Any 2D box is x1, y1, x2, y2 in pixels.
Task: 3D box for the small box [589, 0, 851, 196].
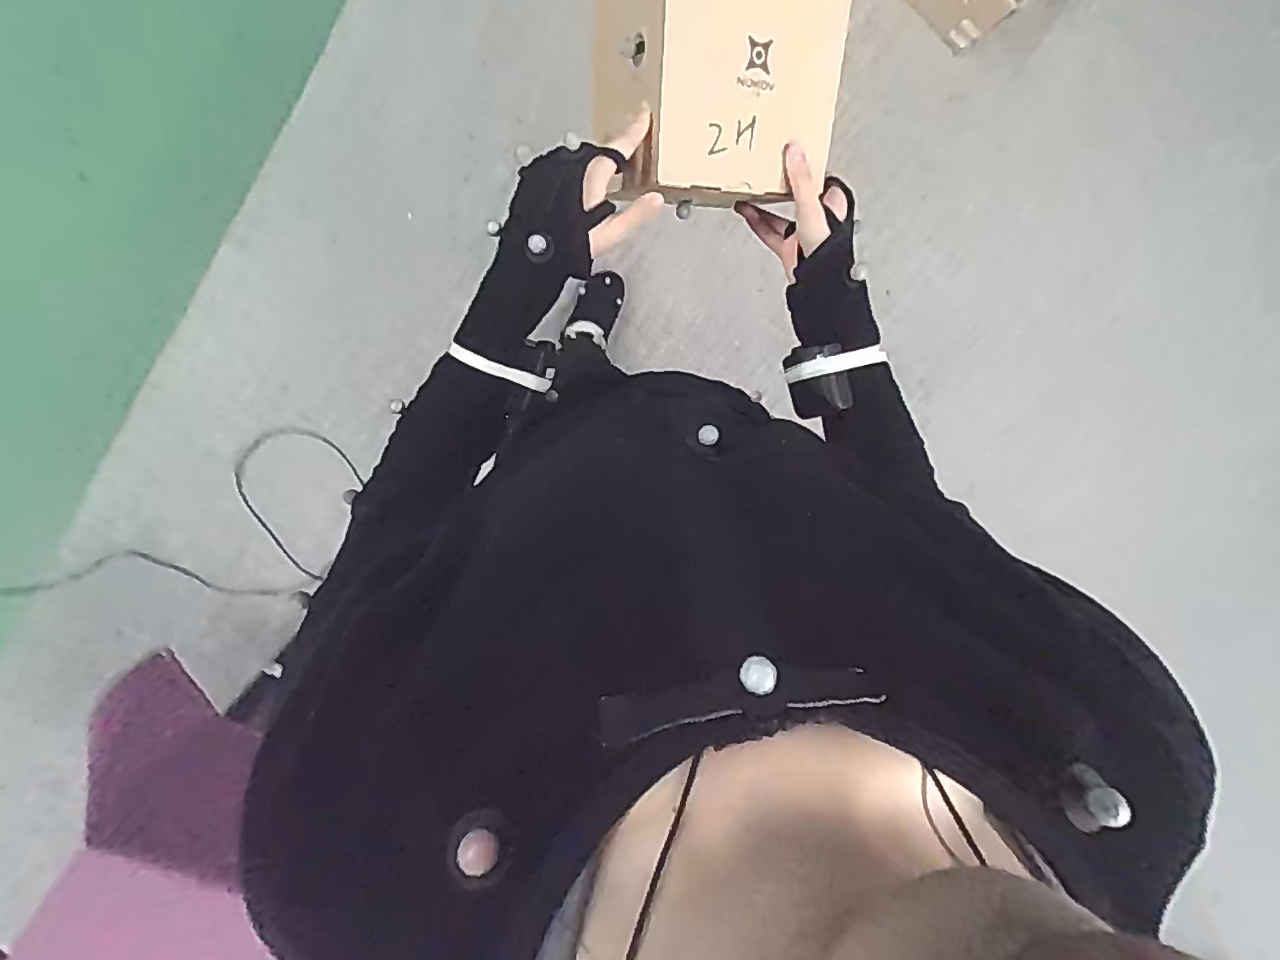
[{"bbox_3d":[0.057,-0.362,0.482,0.168,0.176,0.179,-6,116,-21],"label":"small box"}]
